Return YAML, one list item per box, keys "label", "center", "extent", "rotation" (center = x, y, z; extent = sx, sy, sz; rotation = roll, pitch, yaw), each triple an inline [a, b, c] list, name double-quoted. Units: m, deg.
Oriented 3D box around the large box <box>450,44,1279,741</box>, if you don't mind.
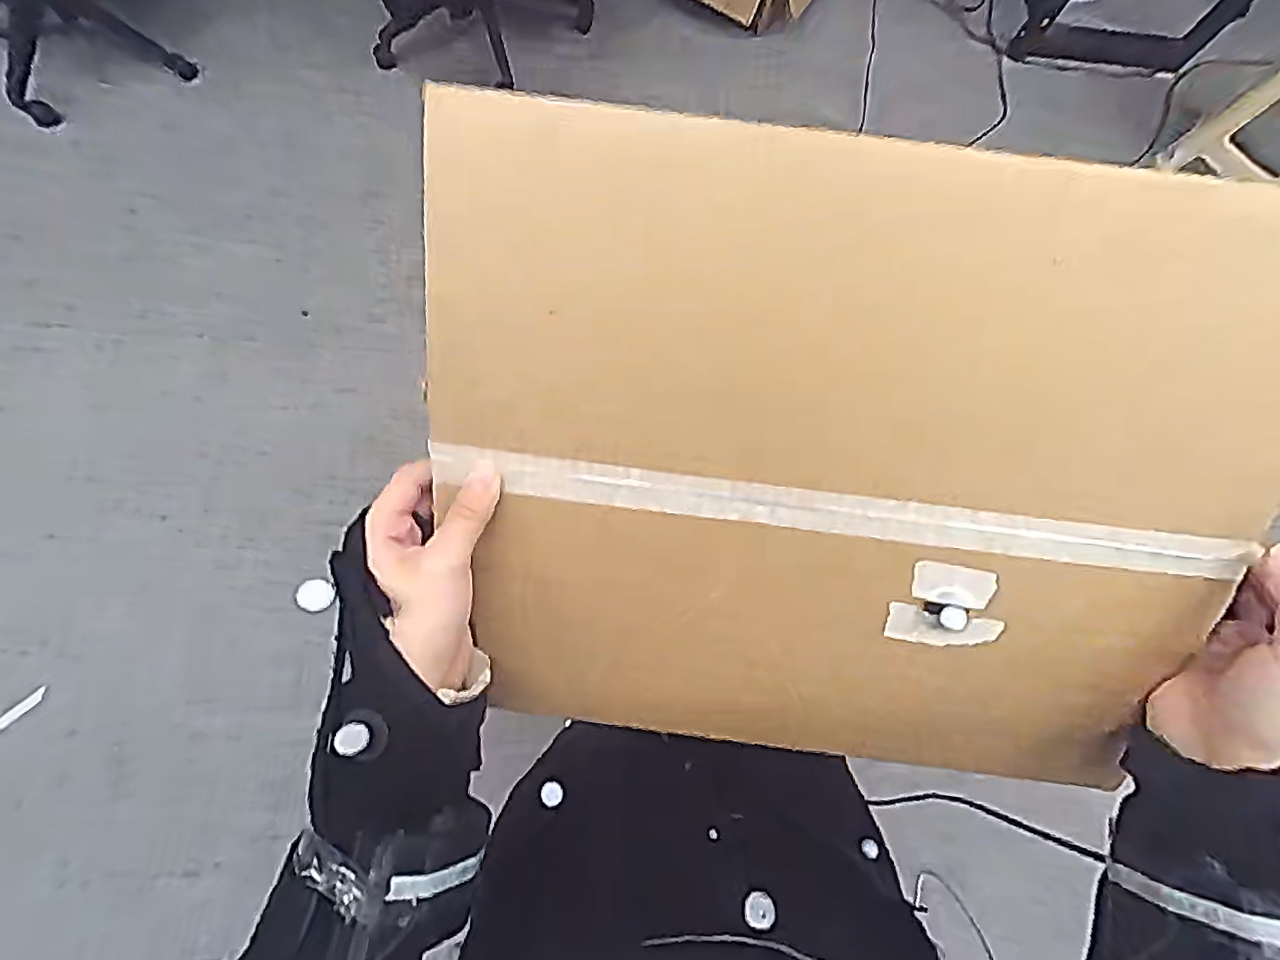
- label: "large box"
  center: [0.112, -0.060, 0.403]
  extent: [0.408, 0.320, 0.320]
  rotation: [7, 111, 0]
